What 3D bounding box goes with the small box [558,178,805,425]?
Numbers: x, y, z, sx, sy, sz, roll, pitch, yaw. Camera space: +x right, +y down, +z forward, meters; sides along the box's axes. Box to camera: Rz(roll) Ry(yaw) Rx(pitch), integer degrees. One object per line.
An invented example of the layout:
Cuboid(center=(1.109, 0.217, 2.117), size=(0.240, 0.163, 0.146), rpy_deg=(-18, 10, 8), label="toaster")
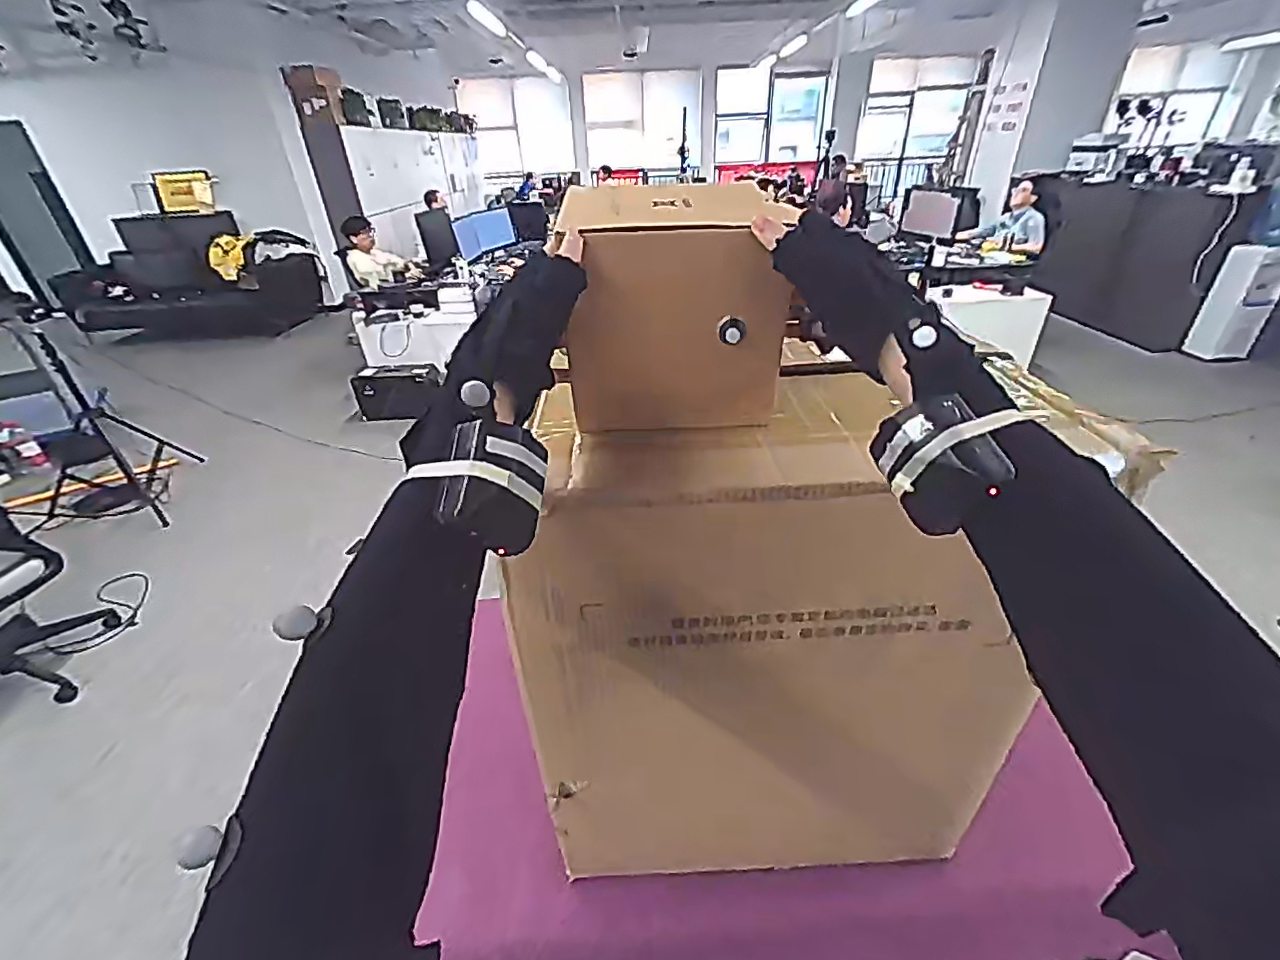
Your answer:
Cuboid(center=(0.029, -0.162, 0.486), size=(0.179, 0.176, 0.168), rpy_deg=(-3, 37, -1), label="small box")
